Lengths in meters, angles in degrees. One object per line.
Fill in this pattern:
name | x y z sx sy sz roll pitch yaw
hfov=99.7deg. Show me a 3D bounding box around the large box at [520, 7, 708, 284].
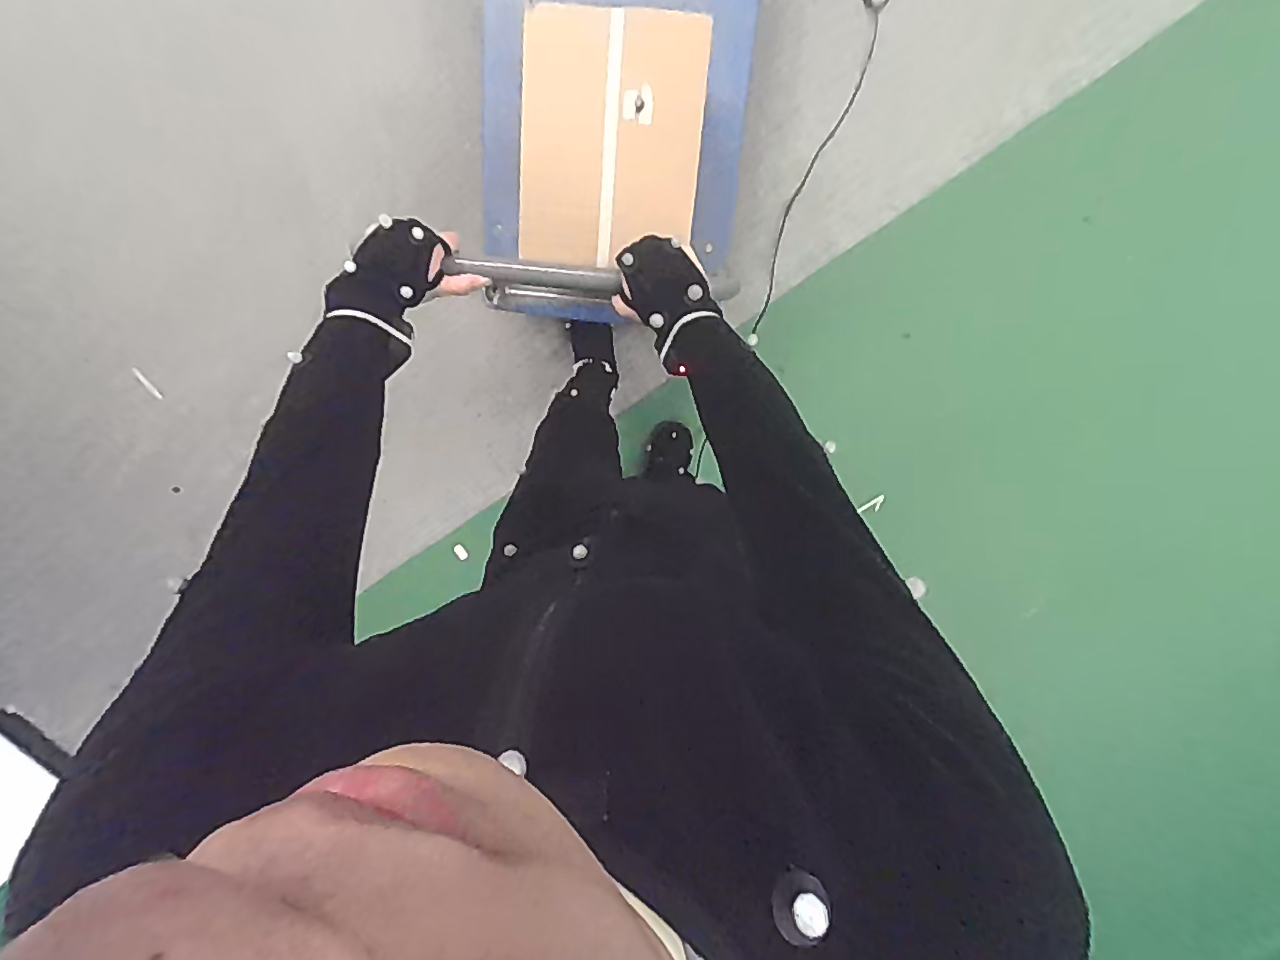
large box | -0.046 -0.629 1.099 0.320 0.320 0.408 6 106 1
